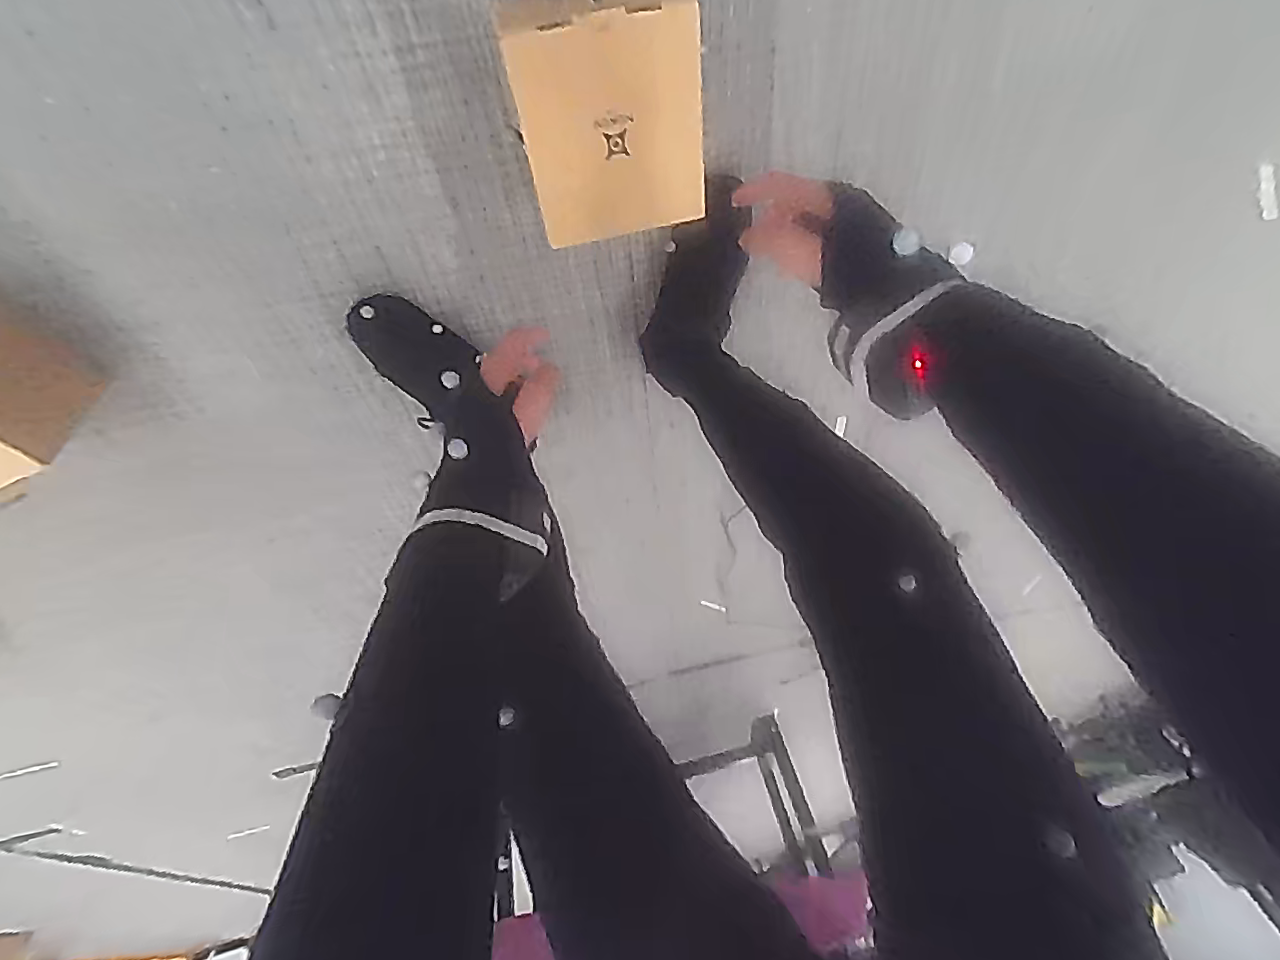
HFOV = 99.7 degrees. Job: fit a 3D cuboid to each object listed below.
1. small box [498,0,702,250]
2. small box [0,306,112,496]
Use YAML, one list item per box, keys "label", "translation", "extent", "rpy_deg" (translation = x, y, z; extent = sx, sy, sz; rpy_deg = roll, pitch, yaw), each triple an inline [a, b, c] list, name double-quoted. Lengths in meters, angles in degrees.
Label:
- label: "small box"
  translation: [-0.039, -0.367, 0.550]
  extent: [0.168, 0.176, 0.179]
  rpy_deg: [-14, 136, -3]
- label: "small box"
  translation: [-0.772, -0.088, 0.603]
  extent: [0.168, 0.176, 0.179]
  rpy_deg: [-23, 137, 6]
